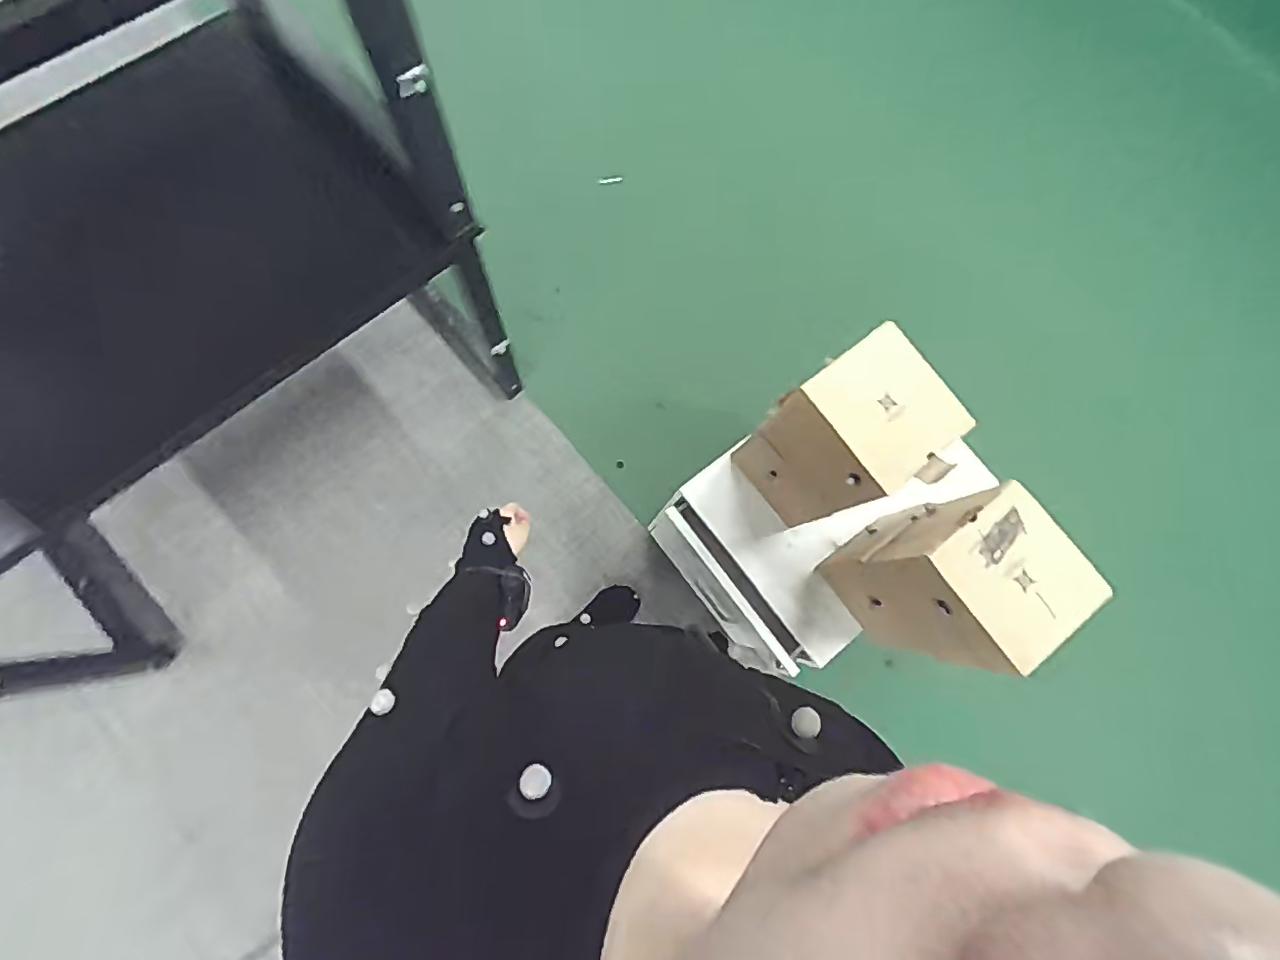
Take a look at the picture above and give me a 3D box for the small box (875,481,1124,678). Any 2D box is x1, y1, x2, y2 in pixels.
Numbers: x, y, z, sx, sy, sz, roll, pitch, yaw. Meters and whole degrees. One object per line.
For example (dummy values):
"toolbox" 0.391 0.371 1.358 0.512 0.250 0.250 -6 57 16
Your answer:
"small box" 0.451 0.130 0.711 0.168 0.176 0.179 -34 83 -10

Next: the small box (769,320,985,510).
"small box" 0.309 -0.078 0.746 0.168 0.176 0.179 -36 85 -12
